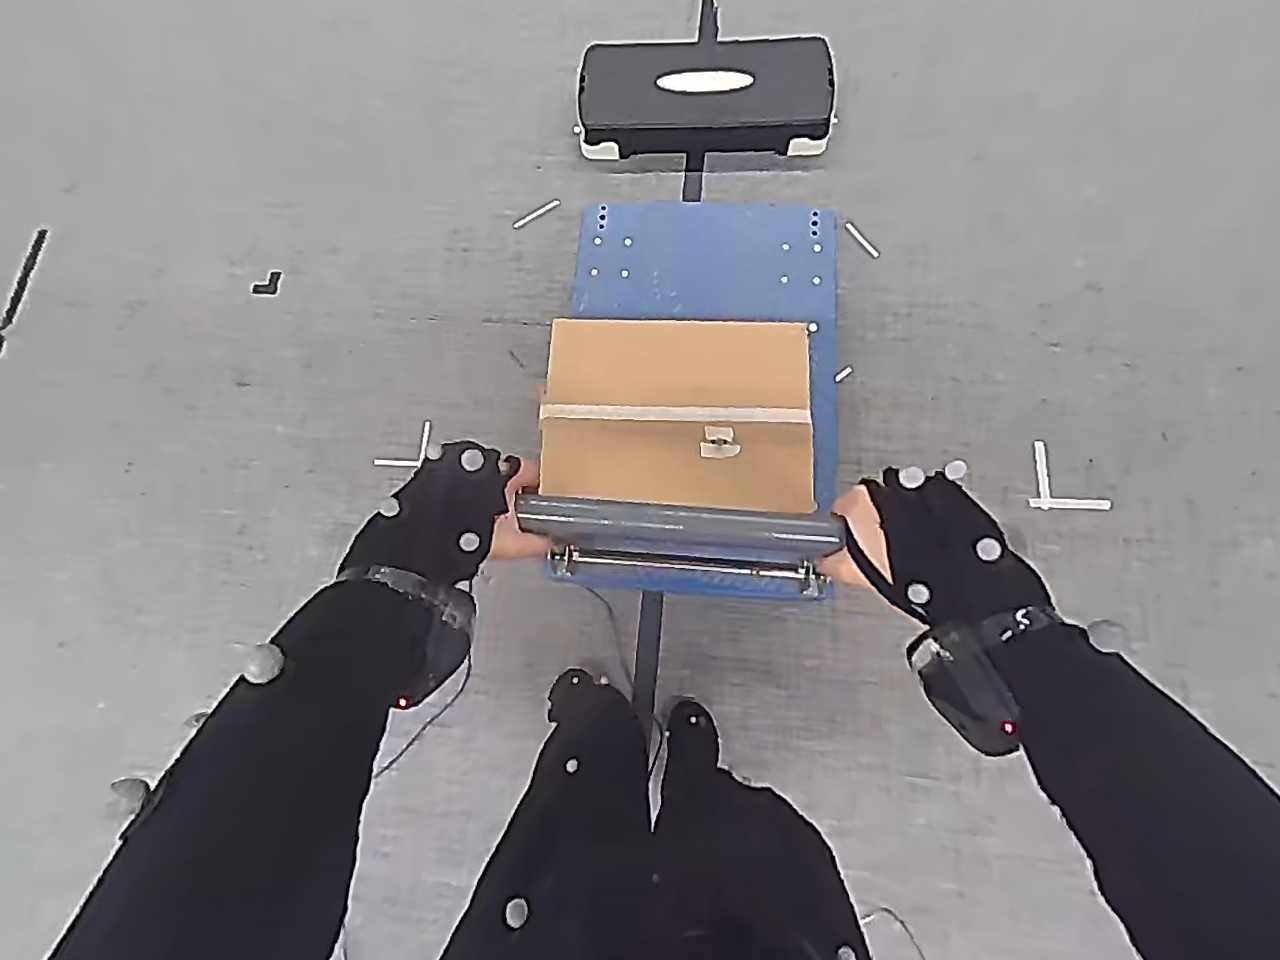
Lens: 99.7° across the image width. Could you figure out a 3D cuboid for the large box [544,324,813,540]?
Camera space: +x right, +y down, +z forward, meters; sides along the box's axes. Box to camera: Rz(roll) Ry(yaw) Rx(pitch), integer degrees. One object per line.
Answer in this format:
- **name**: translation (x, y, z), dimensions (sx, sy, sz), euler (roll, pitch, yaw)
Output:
- **large box**: translation (0.061, -0.065, 0.970), dimensions (0.408, 0.320, 0.320), euler (2, 78, 2)
